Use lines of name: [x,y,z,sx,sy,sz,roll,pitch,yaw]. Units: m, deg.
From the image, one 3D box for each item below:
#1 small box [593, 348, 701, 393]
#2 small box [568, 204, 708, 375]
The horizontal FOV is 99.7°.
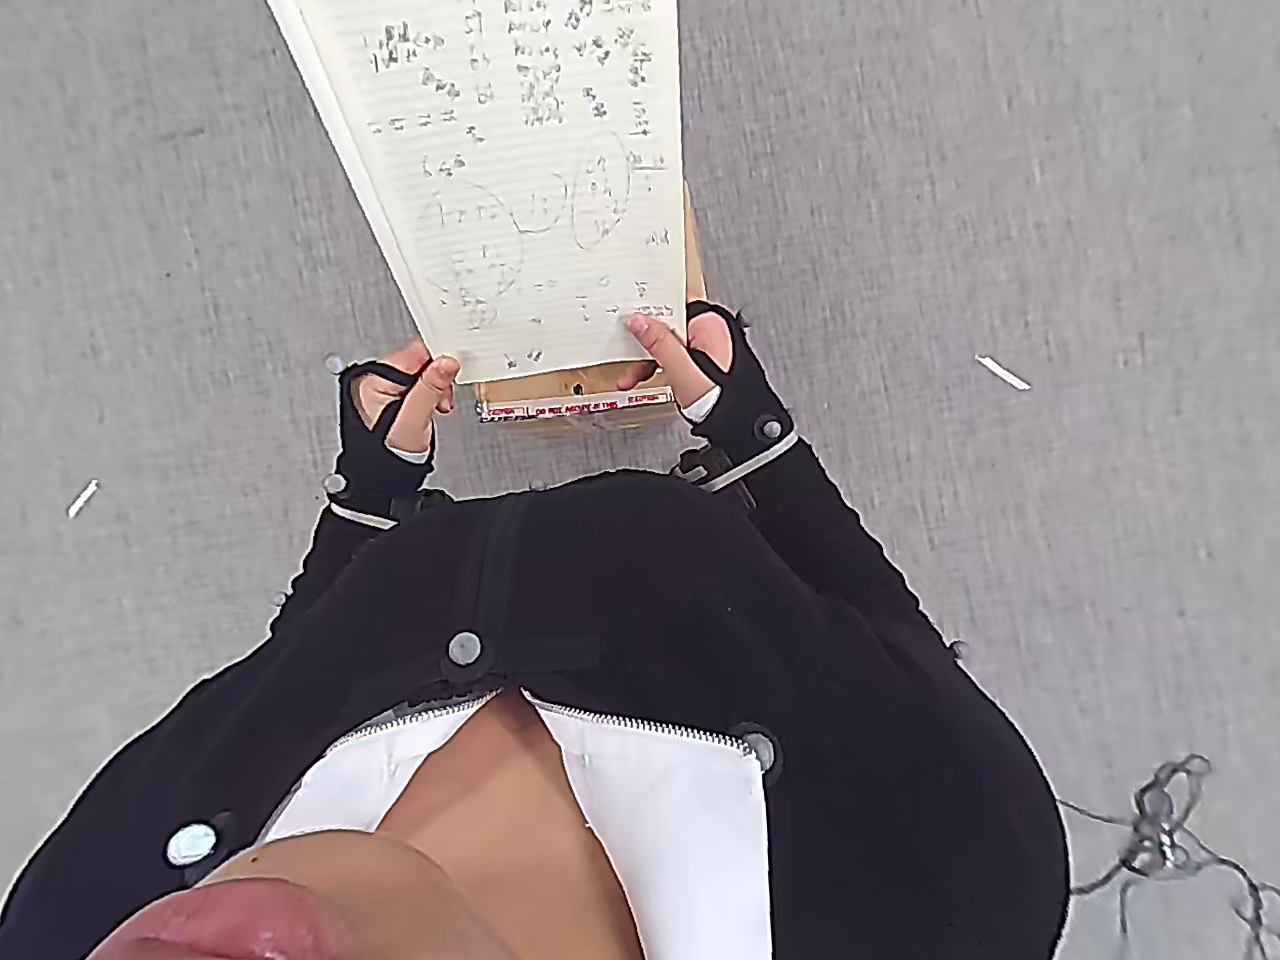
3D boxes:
small box: [-0.001,-0.258,0.948,0.179,0.176,0.168,-12,91,1]
small box: [-0.005,-0.263,0.784,0.168,0.176,0.179,-9,91,0]
